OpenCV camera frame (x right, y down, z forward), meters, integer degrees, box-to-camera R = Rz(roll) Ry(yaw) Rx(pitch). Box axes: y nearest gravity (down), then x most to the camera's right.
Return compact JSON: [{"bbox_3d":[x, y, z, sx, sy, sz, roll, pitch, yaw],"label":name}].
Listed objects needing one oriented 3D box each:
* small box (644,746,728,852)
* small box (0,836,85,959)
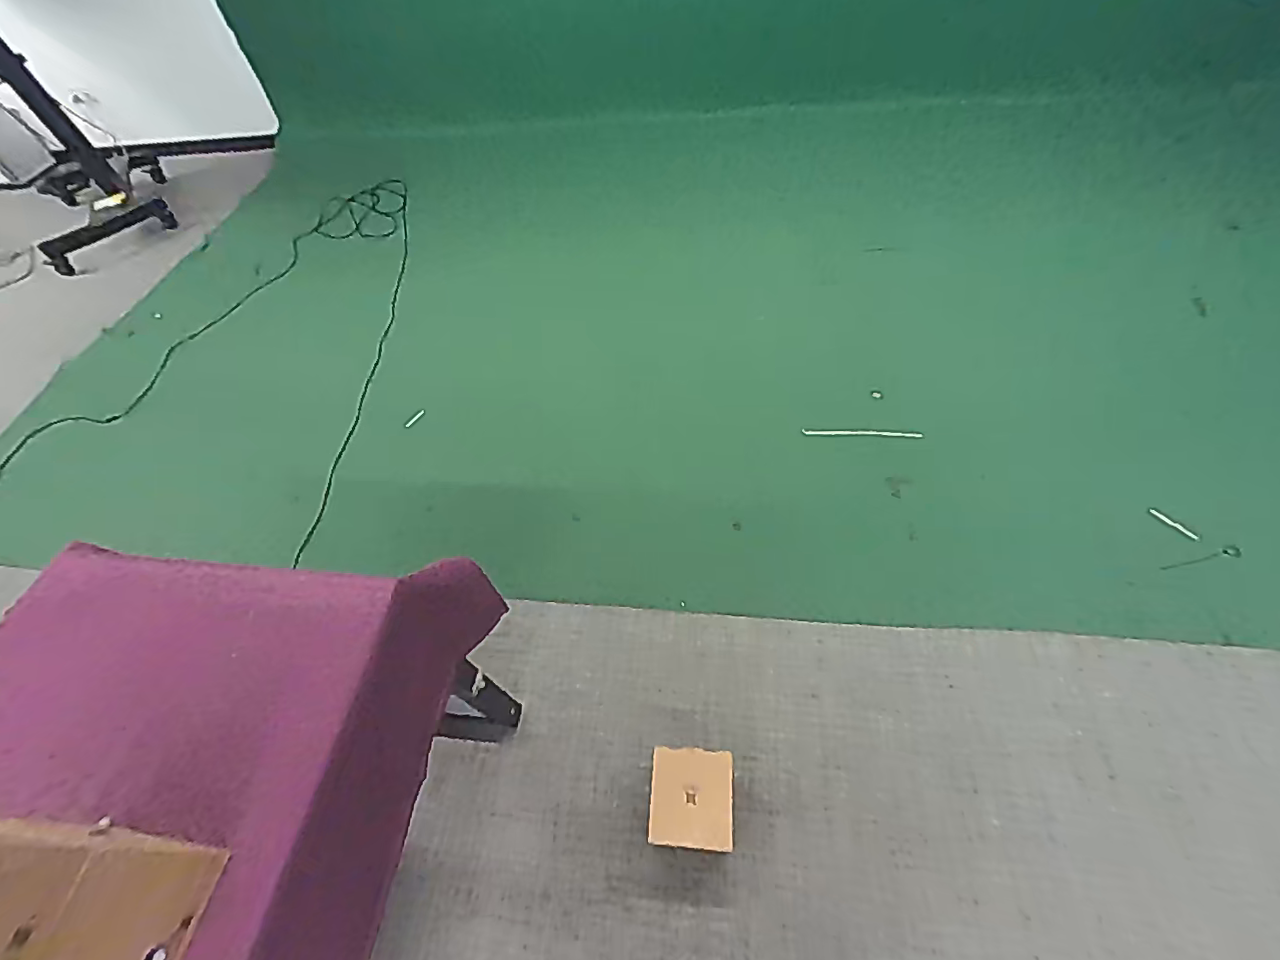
[{"bbox_3d":[0.104,0.686,1.160,0.168,0.176,0.179,1,54,7],"label":"small box"},{"bbox_3d":[-0.577,0.344,0.378,0.179,0.176,0.168,3,55,9],"label":"small box"}]
